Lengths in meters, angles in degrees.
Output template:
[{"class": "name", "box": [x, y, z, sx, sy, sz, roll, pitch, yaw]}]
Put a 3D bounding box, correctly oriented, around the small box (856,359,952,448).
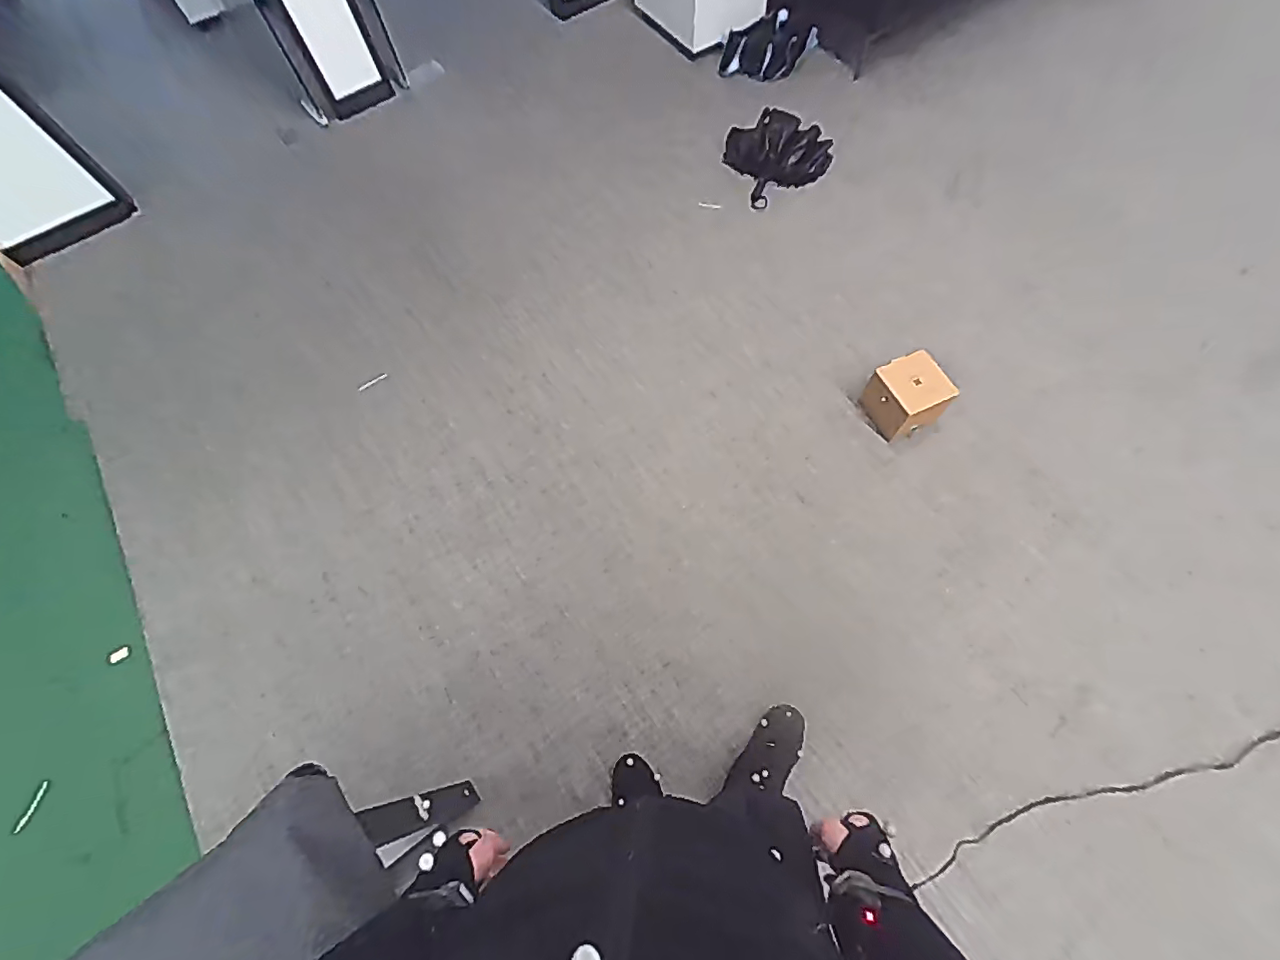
[{"class": "small box", "box": [0.786, -0.228, 1.632, 0.168, 0.176, 0.179, -23, 68, -6]}]
